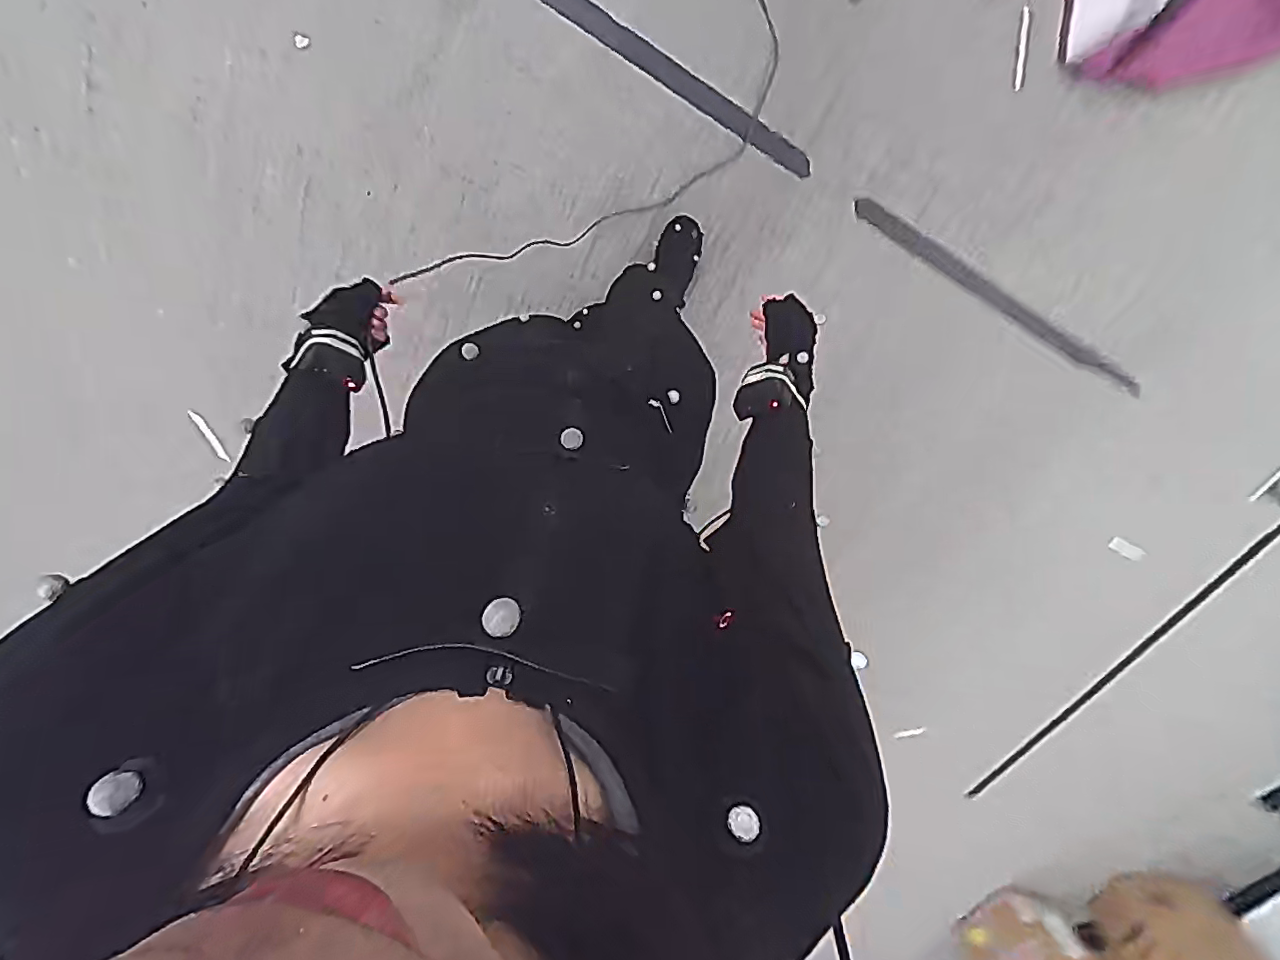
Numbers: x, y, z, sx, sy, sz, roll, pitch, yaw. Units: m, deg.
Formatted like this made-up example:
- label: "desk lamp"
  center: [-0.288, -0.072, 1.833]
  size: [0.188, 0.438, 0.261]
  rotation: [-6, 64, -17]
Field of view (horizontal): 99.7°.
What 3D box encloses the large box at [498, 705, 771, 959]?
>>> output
- label: "large box"
  center: [-0.018, 0.716, 1.083]
  size: [0.408, 0.320, 0.320]
  rotation: [22, 111, -13]
